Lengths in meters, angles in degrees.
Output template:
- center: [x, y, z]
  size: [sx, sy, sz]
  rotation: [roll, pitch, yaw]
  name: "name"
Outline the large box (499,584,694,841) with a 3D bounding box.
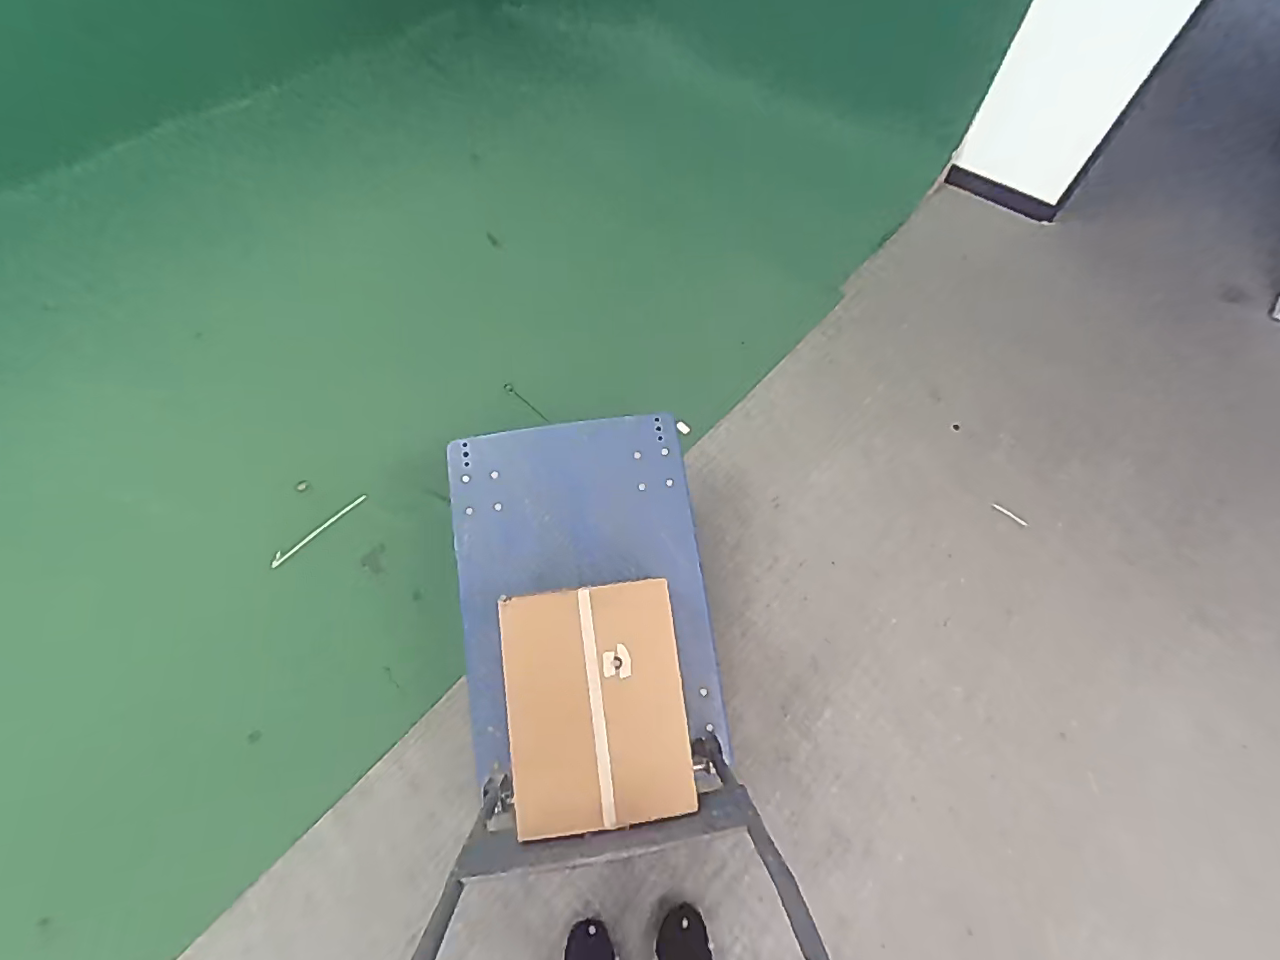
- center: [-0.088, 0.440, 1.120]
  size: [0.320, 0.320, 0.408]
  rotation: [-7, 79, -4]
  name: "large box"
